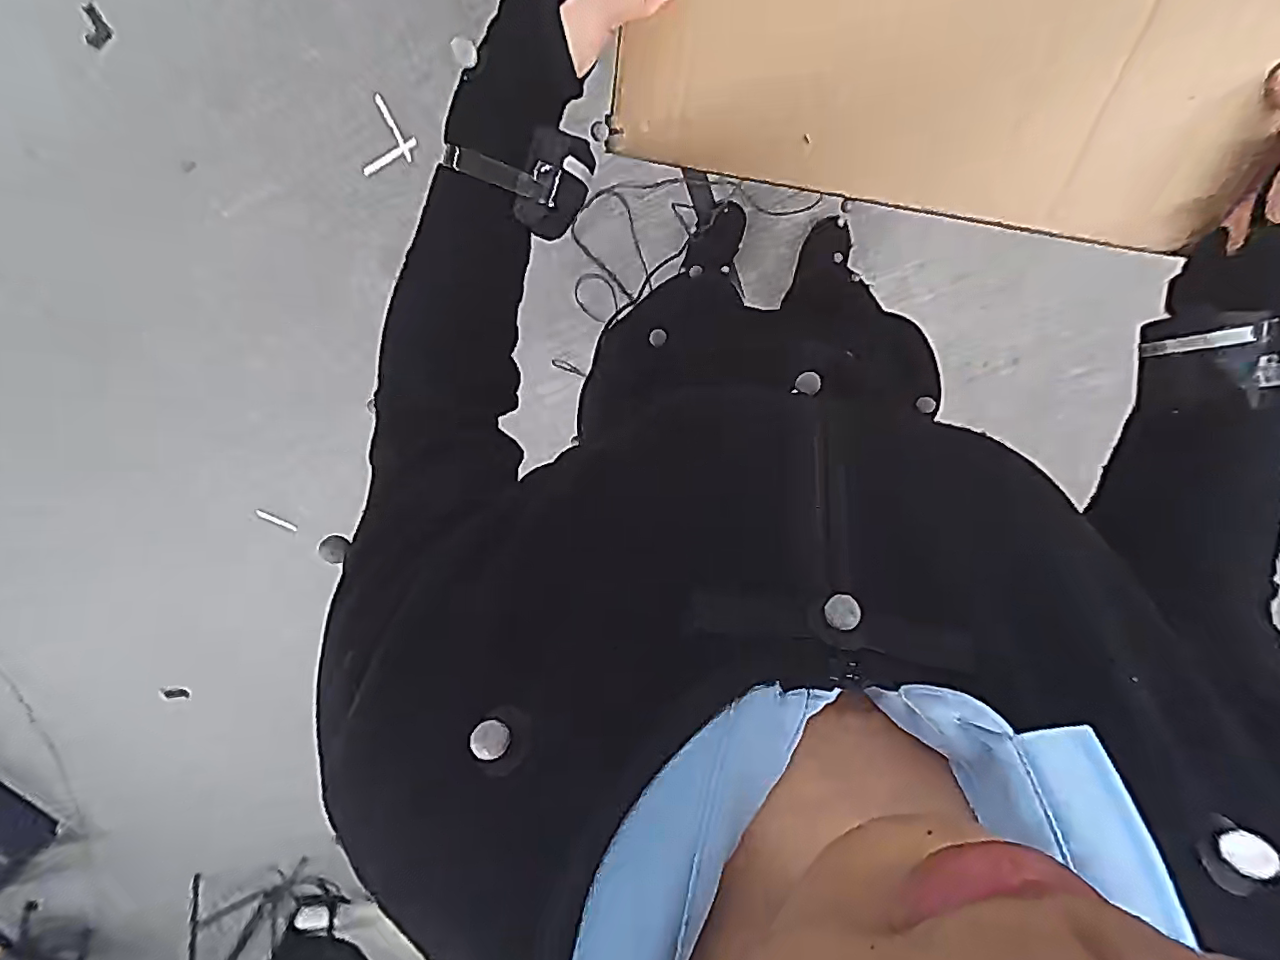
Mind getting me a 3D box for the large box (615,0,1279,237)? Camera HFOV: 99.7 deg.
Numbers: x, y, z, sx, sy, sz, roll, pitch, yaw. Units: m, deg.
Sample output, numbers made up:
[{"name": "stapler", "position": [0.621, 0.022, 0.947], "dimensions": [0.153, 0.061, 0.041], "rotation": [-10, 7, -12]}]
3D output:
[{"name": "large box", "position": [0.221, -0.404, 0.433], "dimensions": [0.408, 0.320, 0.320], "rotation": [12, 120, 6]}]
